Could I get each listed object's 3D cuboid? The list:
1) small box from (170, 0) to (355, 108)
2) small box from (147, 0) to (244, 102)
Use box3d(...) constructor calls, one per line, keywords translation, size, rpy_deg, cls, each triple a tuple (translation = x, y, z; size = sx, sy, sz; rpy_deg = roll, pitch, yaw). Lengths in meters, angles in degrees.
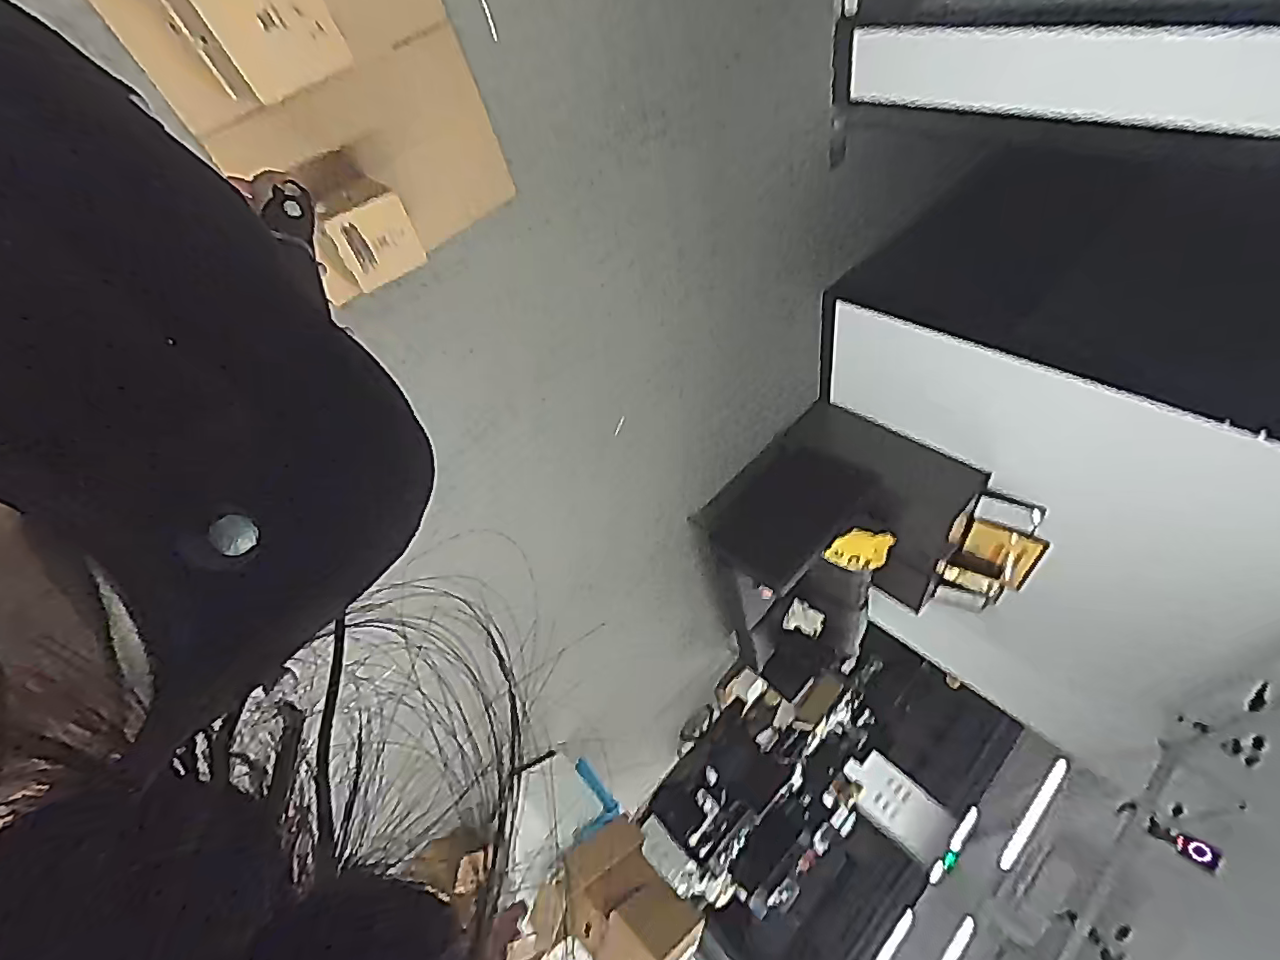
box3d(translation=(-0.607, -0.726, 0.863), size=(0.179, 0.176, 0.168), rpy_deg=(-43, 145, -17), cls="small box")
box3d(translation=(-0.723, -0.800, 0.955), size=(0.179, 0.176, 0.168), rpy_deg=(-44, 145, -17), cls="small box")
